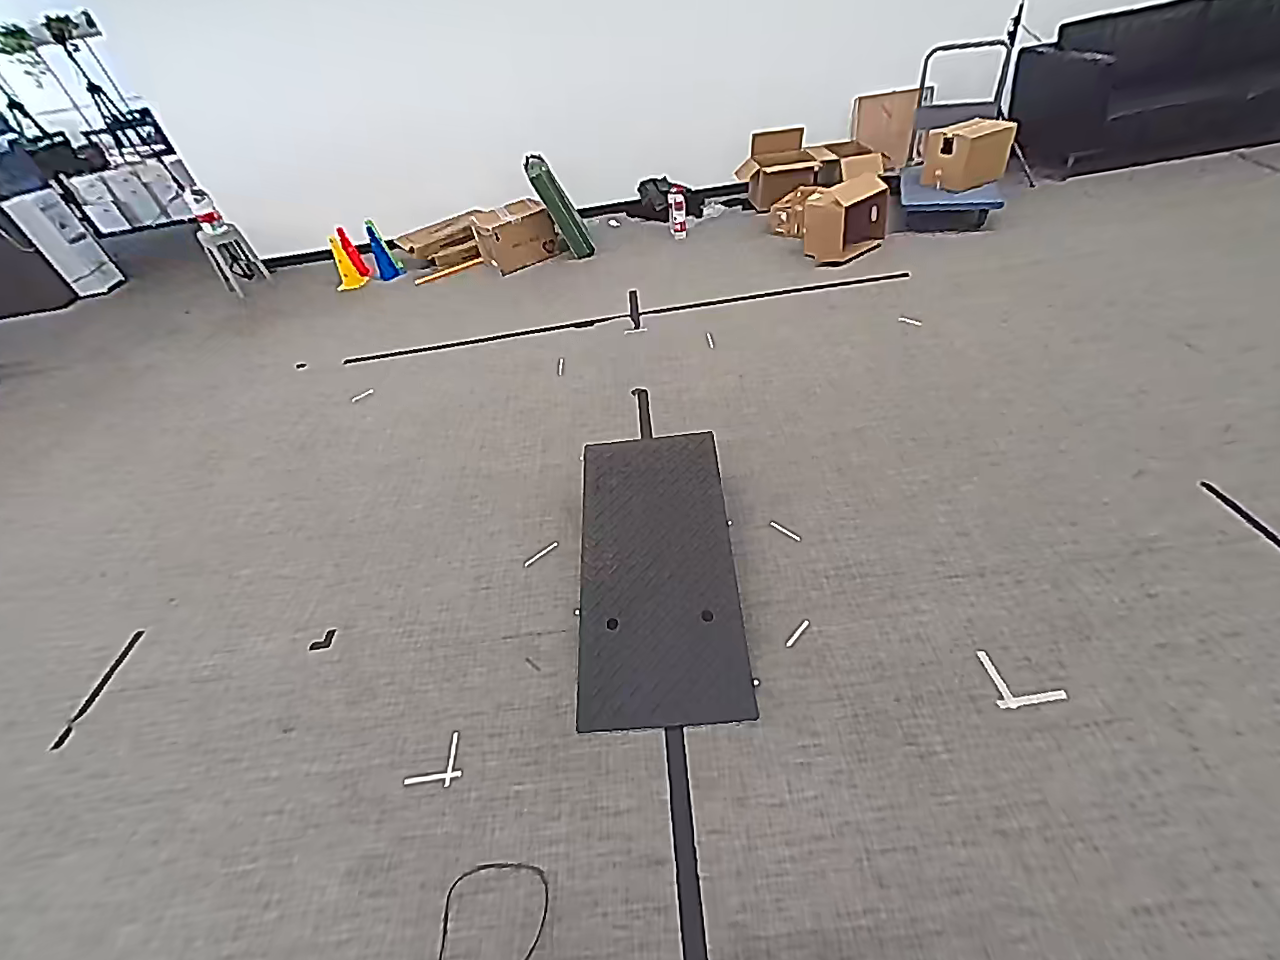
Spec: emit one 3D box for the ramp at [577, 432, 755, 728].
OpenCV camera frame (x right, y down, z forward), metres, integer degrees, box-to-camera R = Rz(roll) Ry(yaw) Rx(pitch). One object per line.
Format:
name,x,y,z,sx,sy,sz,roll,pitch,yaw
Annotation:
ramp,0.049,0.248,1.741,0.509,0.206,0.991,-6,44,2
